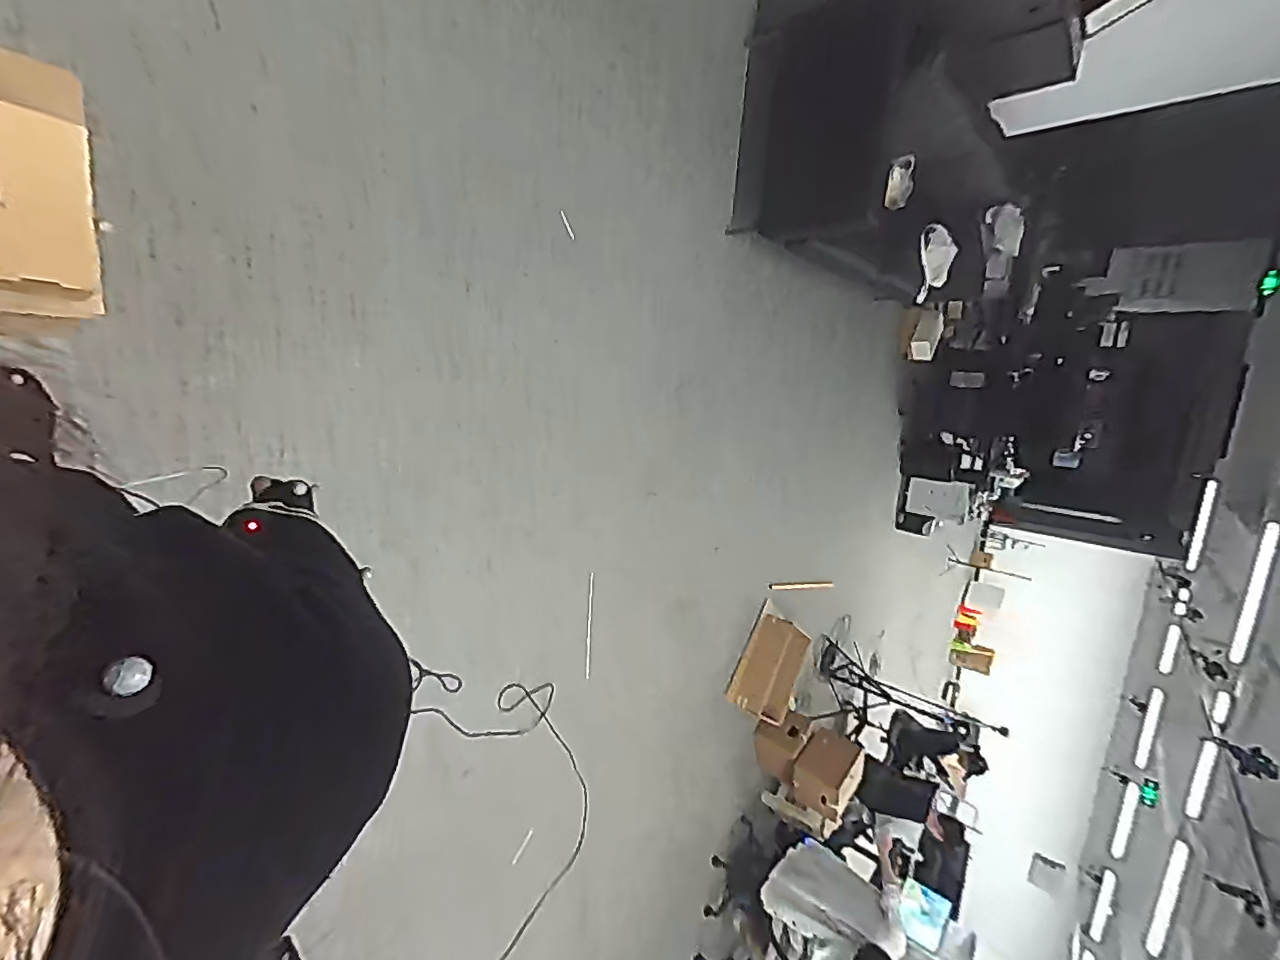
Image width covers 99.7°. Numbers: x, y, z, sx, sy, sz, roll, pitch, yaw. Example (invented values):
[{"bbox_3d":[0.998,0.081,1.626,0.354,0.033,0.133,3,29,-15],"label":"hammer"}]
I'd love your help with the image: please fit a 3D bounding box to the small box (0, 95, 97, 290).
[{"bbox_3d":[-0.725,-0.316,0.594,0.168,0.176,0.179,-5,105,-48],"label":"small box"}]
